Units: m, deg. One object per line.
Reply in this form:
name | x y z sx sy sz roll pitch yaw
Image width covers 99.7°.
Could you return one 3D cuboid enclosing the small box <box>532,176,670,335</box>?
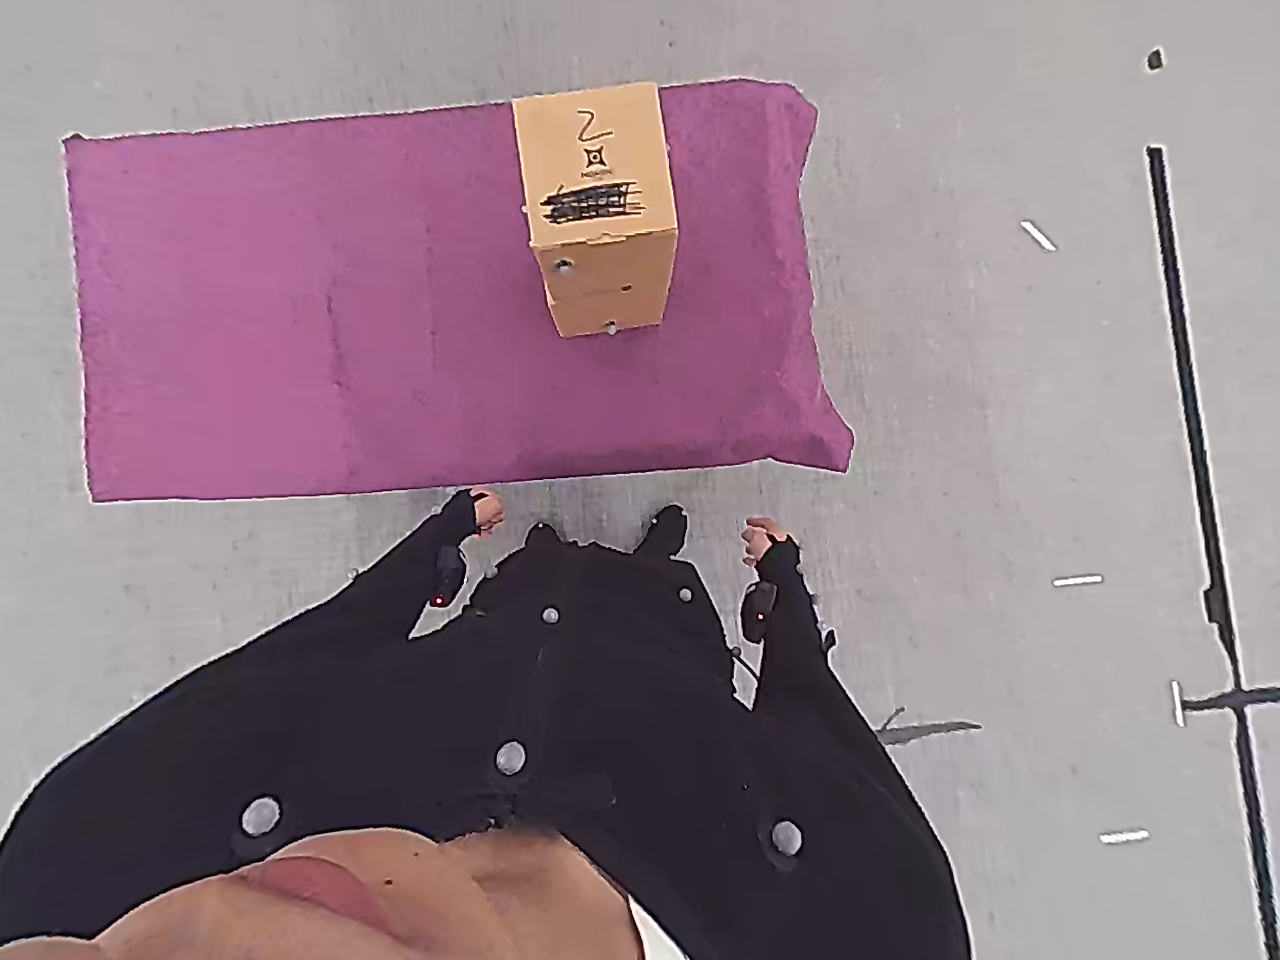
small box | -0.059 -0.336 0.838 0.179 0.176 0.168 -9 88 -2
